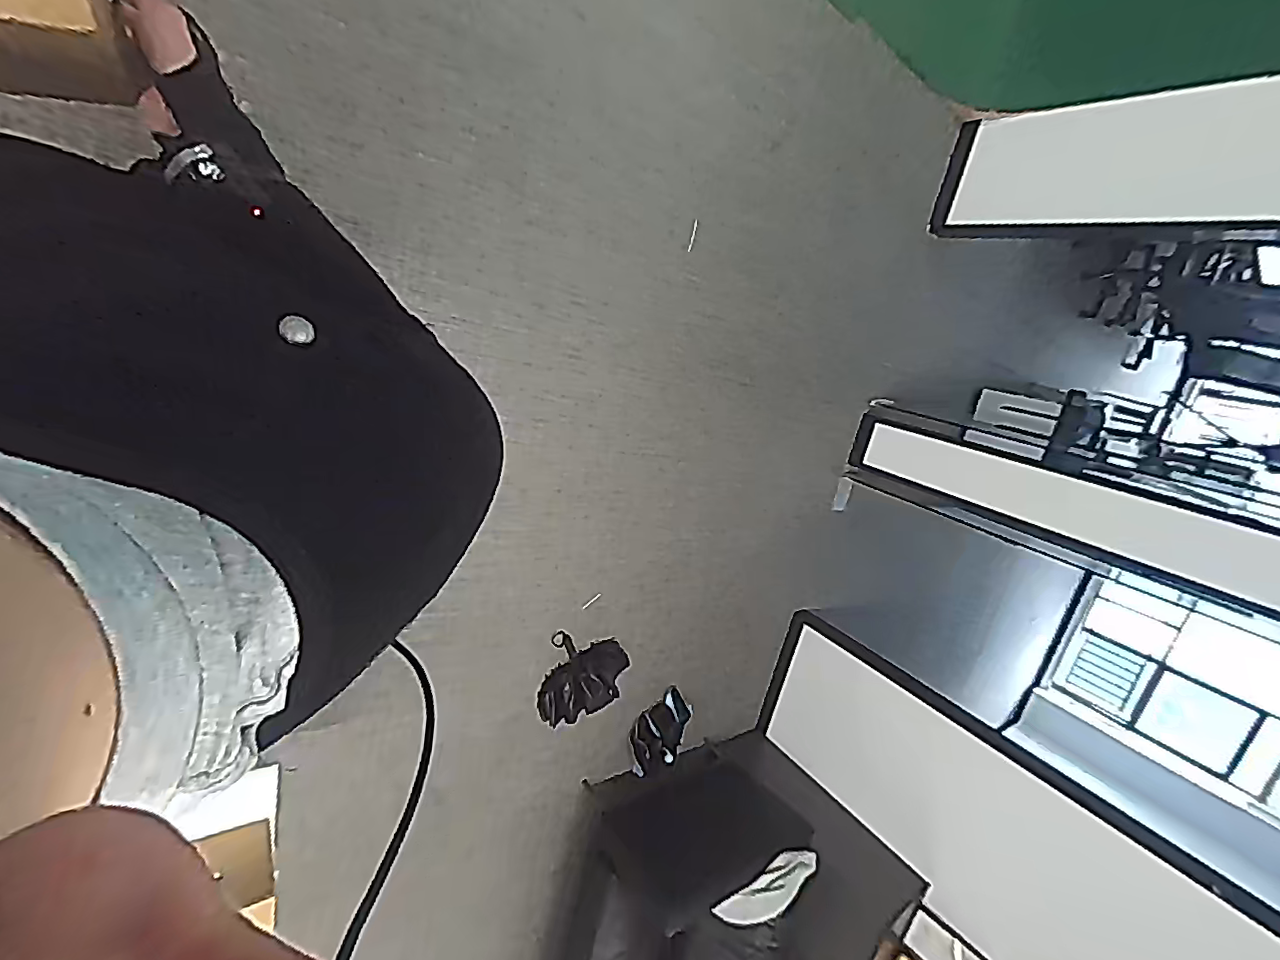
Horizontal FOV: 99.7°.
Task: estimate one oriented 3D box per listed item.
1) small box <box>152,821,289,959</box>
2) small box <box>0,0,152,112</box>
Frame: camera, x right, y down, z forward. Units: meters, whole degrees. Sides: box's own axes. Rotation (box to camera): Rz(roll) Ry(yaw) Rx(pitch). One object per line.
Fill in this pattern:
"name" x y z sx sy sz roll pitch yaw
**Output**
"small box" -0.731 0.755 0.951 0.179 0.176 0.168 -1 110 -38
"small box" -0.443 -0.346 0.326 0.179 0.176 0.168 -15 114 -31
